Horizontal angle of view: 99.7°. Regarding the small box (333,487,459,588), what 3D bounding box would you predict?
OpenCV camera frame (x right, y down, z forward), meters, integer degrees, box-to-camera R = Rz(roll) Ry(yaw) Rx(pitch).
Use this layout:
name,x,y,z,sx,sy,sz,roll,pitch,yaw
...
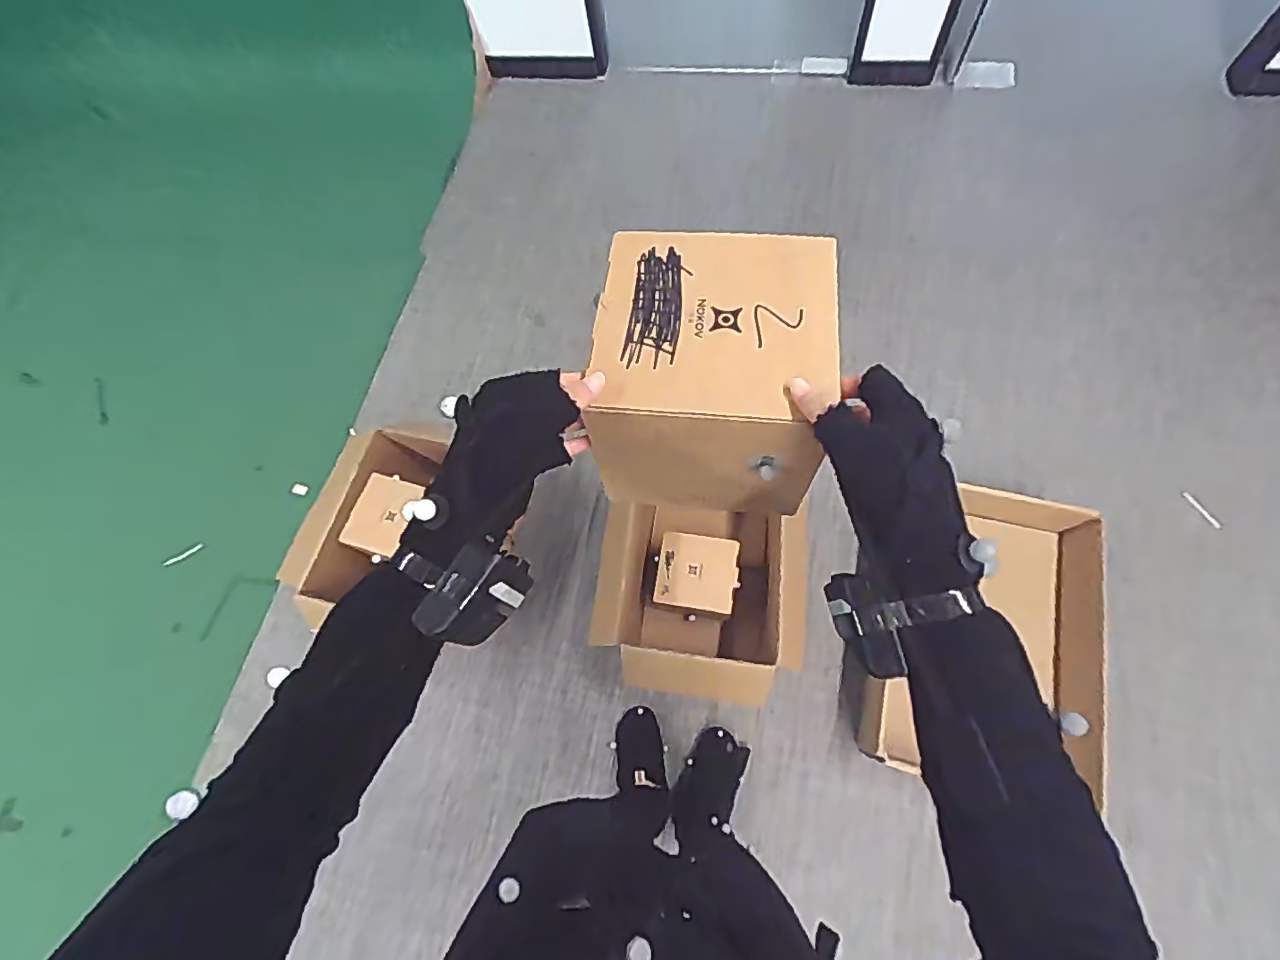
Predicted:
name,x,y,z,sx,sy,sz,roll,pitch,yaw
small box,-0.545,0.138,1.239,0.179,0.176,0.168,15,69,11
